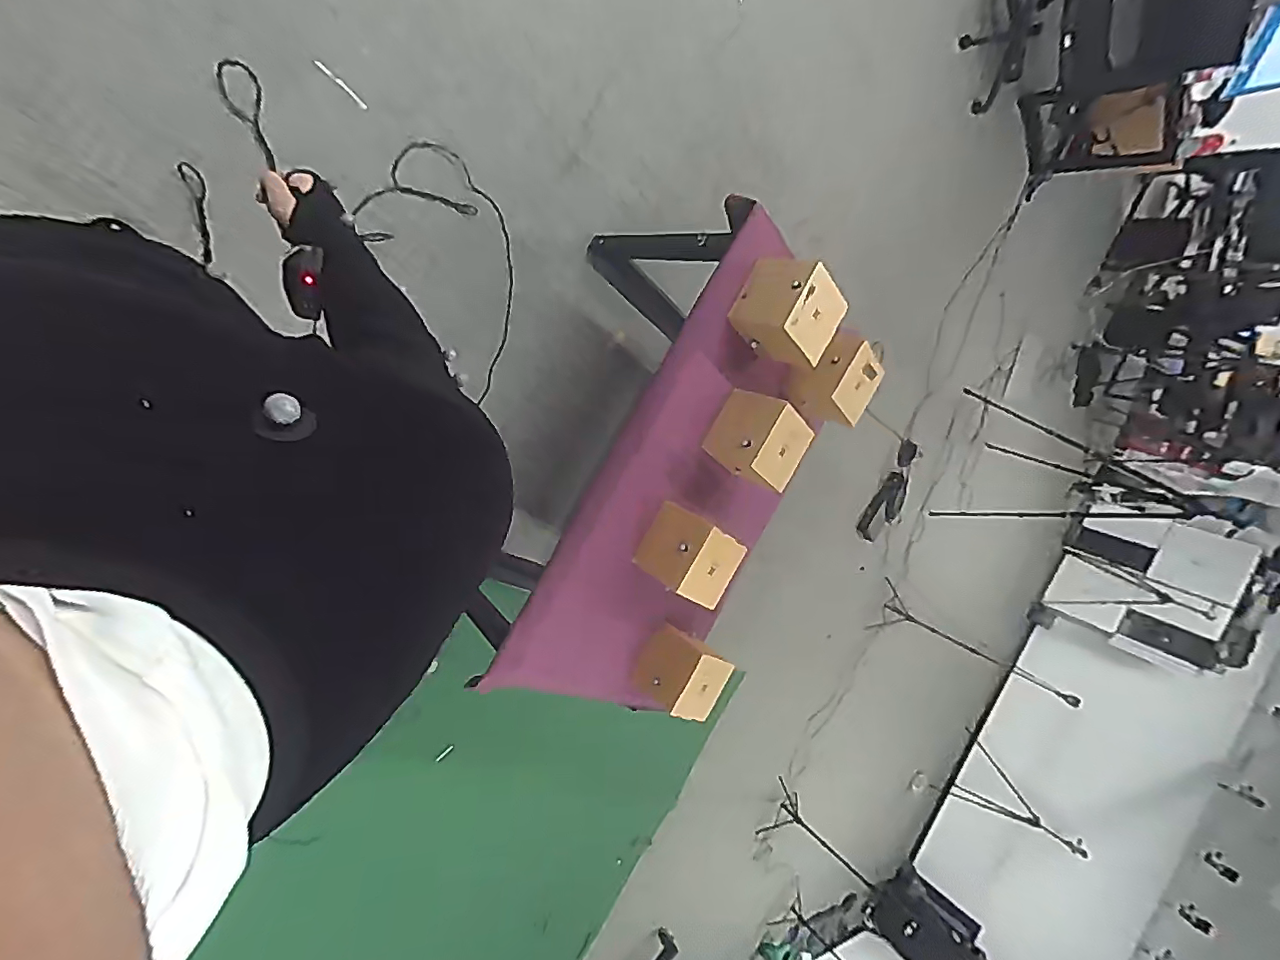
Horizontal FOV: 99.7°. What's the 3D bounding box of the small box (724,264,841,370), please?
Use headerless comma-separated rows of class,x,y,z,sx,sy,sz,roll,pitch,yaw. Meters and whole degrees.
small box,0.330,-0.384,1.258,0.179,0.176,0.168,30,88,-46

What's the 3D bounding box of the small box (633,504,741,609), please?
small box,0.109,0.185,1.324,0.168,0.176,0.179,34,84,-44

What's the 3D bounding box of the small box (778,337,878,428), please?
small box,0.505,-0.272,1.462,0.168,0.176,0.179,33,87,-44

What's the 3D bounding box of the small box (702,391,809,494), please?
small box,0.279,-0.097,1.343,0.168,0.176,0.179,34,85,-45

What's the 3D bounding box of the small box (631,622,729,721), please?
small box,0.102,0.515,1.458,0.168,0.176,0.179,35,83,-43
